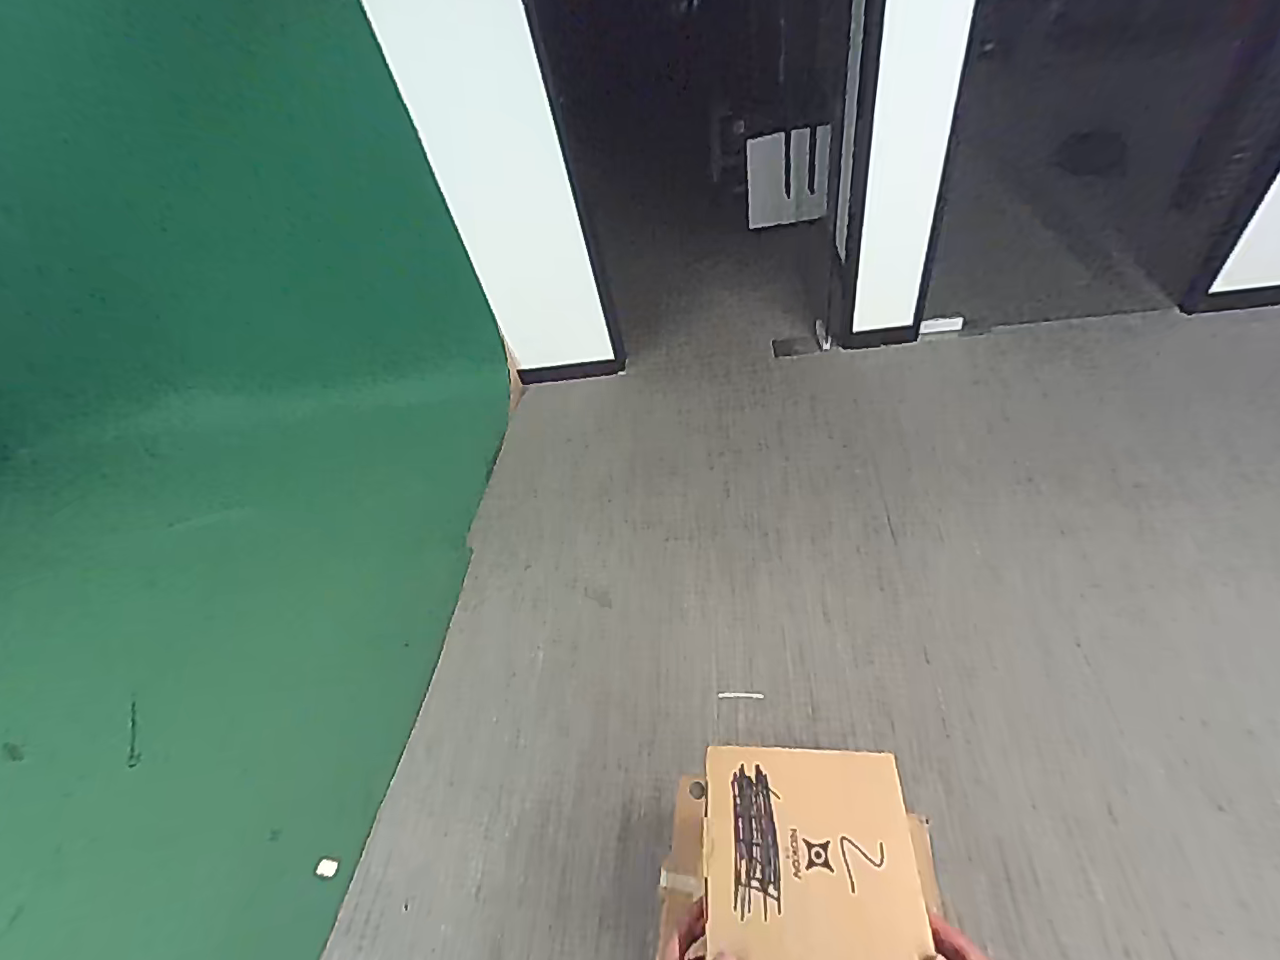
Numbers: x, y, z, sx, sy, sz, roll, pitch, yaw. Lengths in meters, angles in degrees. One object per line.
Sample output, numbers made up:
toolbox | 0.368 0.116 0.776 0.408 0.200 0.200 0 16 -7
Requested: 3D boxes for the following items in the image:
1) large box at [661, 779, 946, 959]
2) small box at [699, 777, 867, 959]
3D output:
large box | 0.261 0.748 0.922 0.408 0.320 0.320 2 48 14
small box | 0.164 0.478 0.638 0.168 0.176 0.179 1 46 12
